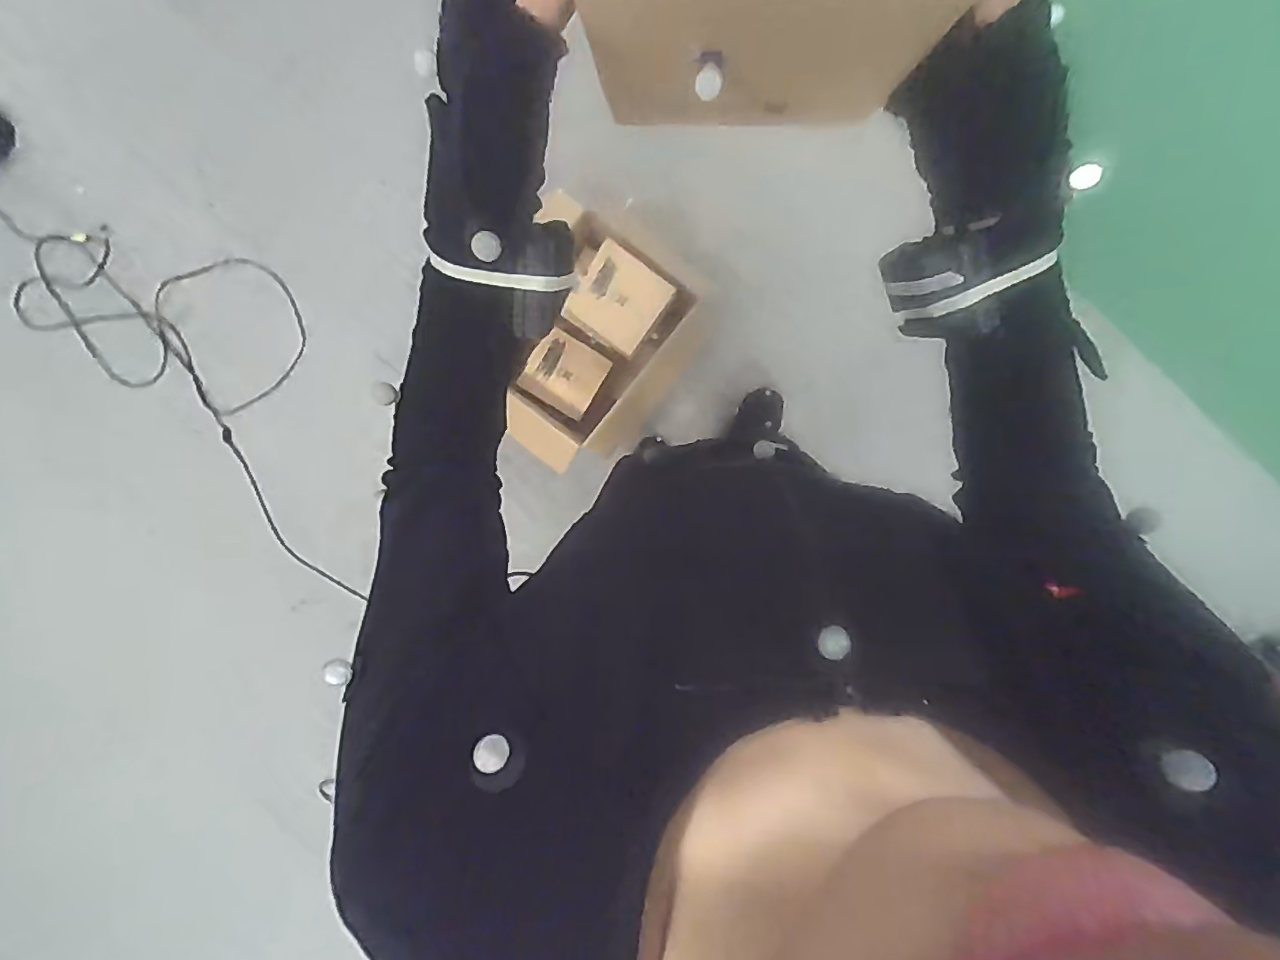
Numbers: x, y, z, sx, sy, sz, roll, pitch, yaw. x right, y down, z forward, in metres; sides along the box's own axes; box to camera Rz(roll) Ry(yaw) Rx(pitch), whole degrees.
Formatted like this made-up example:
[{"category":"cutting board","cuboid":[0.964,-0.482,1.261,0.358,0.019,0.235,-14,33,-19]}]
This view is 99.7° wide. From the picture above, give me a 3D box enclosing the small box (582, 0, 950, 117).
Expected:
[{"category":"small box","cuboid":[0.064,-0.295,0.252,0.168,0.176,0.179,3,105,4]}]
